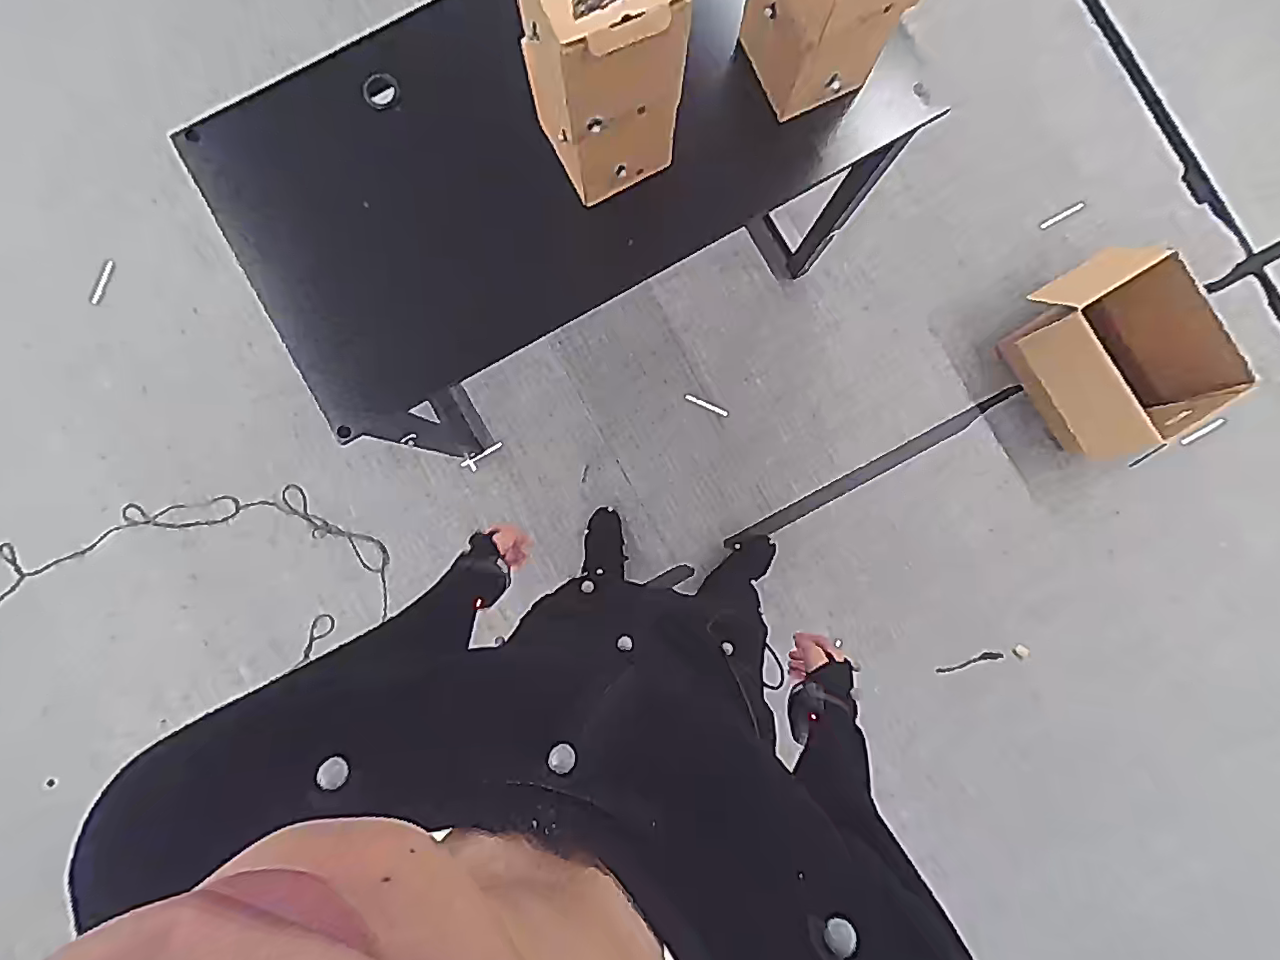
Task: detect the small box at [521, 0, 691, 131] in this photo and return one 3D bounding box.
[{"bbox_3d":[-0.049,-0.582,0.680,0.168,0.176,0.179,-23,89,-2],"label":"small box"}]

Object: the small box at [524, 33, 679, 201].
[{"bbox_3d":[-0.057,-0.585,0.844,0.168,0.176,0.179,-29,89,-2],"label":"small box"}]

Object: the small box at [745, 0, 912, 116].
[{"bbox_3d":[0.282,-0.731,0.851,0.168,0.176,0.179,-24,89,0],"label":"small box"}]
